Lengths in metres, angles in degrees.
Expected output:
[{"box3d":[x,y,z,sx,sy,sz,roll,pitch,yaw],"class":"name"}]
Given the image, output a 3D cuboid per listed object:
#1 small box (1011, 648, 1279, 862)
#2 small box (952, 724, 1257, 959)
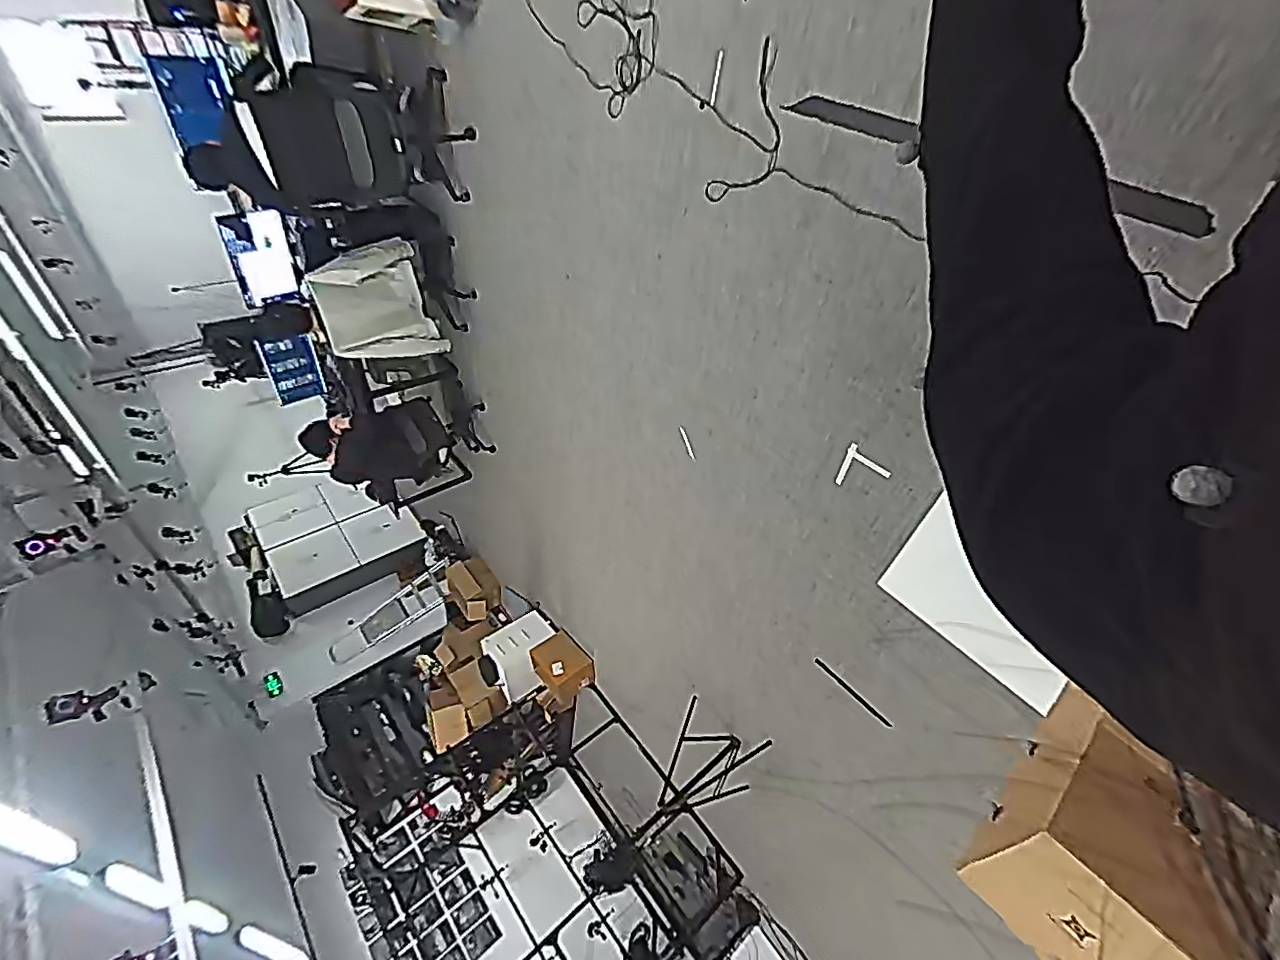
[{"box3d":[0.608,0.340,0.656,0.168,0.176,0.179,42,143,31],"class":"small box"},{"box3d":[0.483,0.403,0.573,0.168,0.176,0.179,41,142,31],"class":"small box"}]
